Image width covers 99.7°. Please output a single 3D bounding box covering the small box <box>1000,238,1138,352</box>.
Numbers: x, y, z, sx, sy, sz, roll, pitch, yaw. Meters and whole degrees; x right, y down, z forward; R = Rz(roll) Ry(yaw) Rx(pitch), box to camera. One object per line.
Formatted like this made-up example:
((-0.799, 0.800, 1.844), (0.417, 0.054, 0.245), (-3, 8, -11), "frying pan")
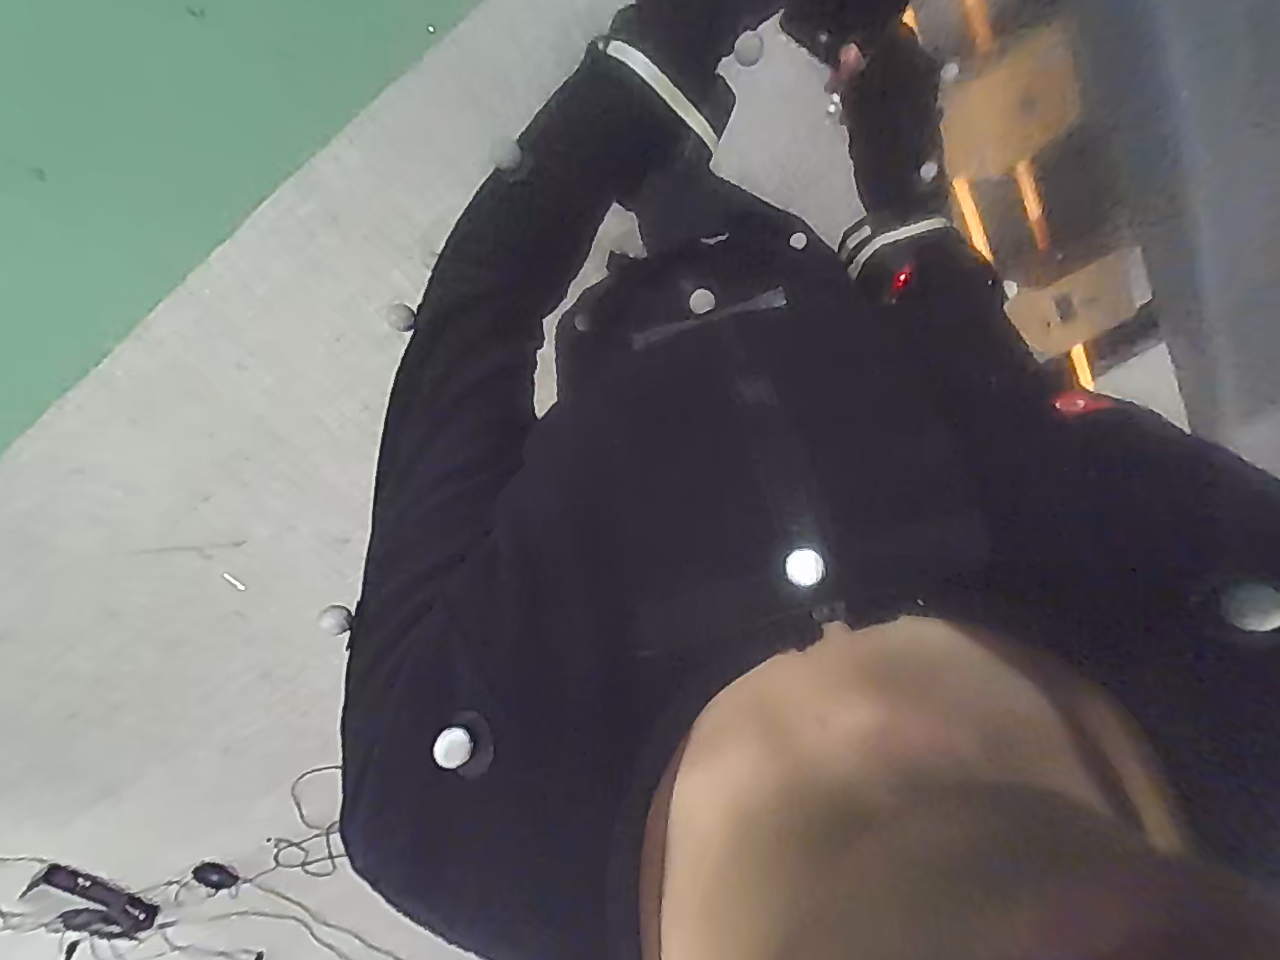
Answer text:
((0.940, -0.415, 1.203), (0.179, 0.176, 0.168), (-30, 116, 12), "small box")
